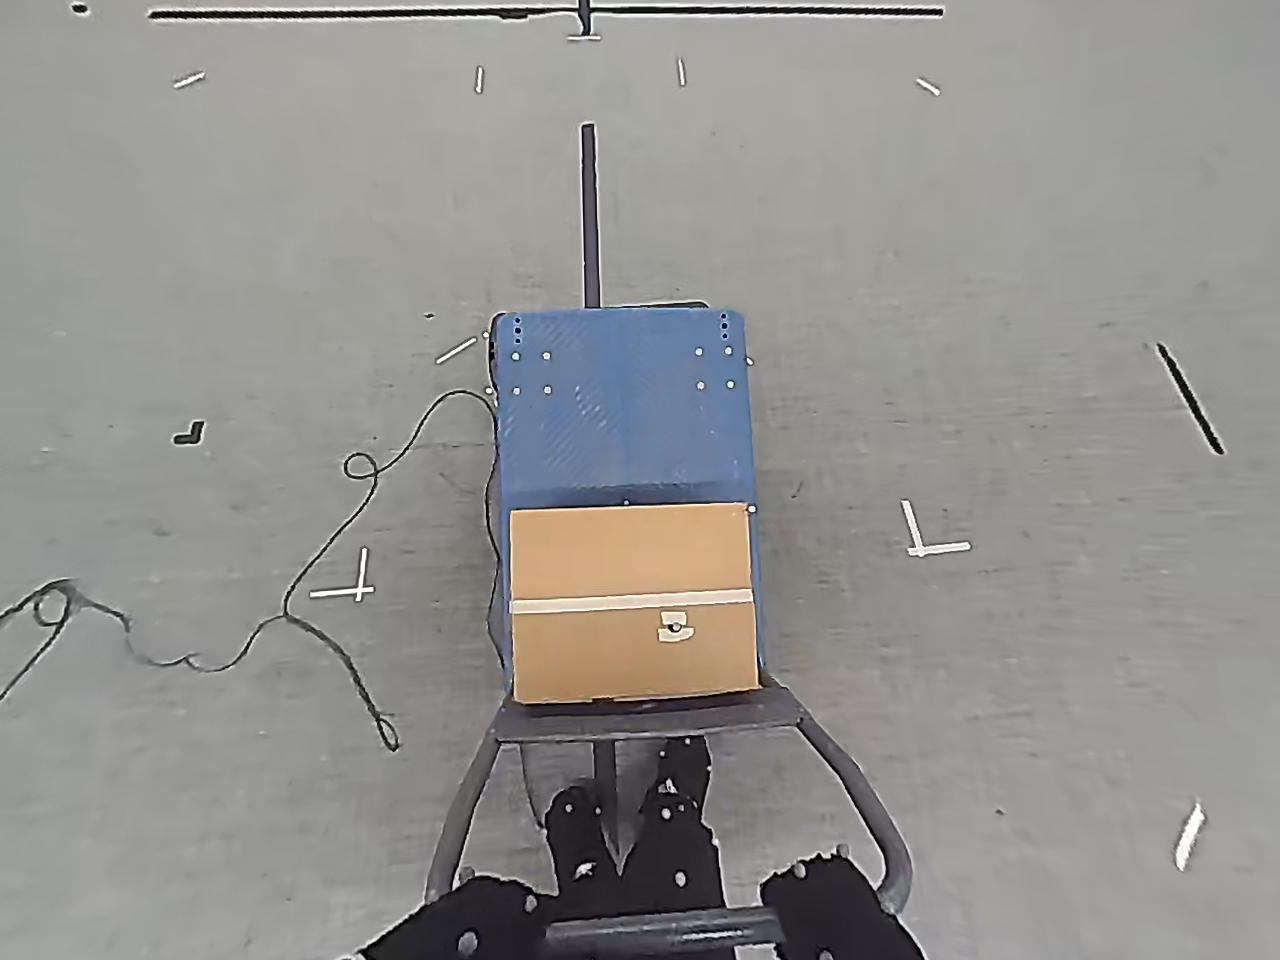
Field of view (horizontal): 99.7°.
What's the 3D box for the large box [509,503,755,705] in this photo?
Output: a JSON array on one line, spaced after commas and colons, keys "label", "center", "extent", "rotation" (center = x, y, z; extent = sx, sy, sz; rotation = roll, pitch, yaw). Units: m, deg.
[{"label": "large box", "center": [-0.024, 0.216, 1.046], "extent": [0.408, 0.320, 0.320], "rotation": [-2, 86, -4]}]
